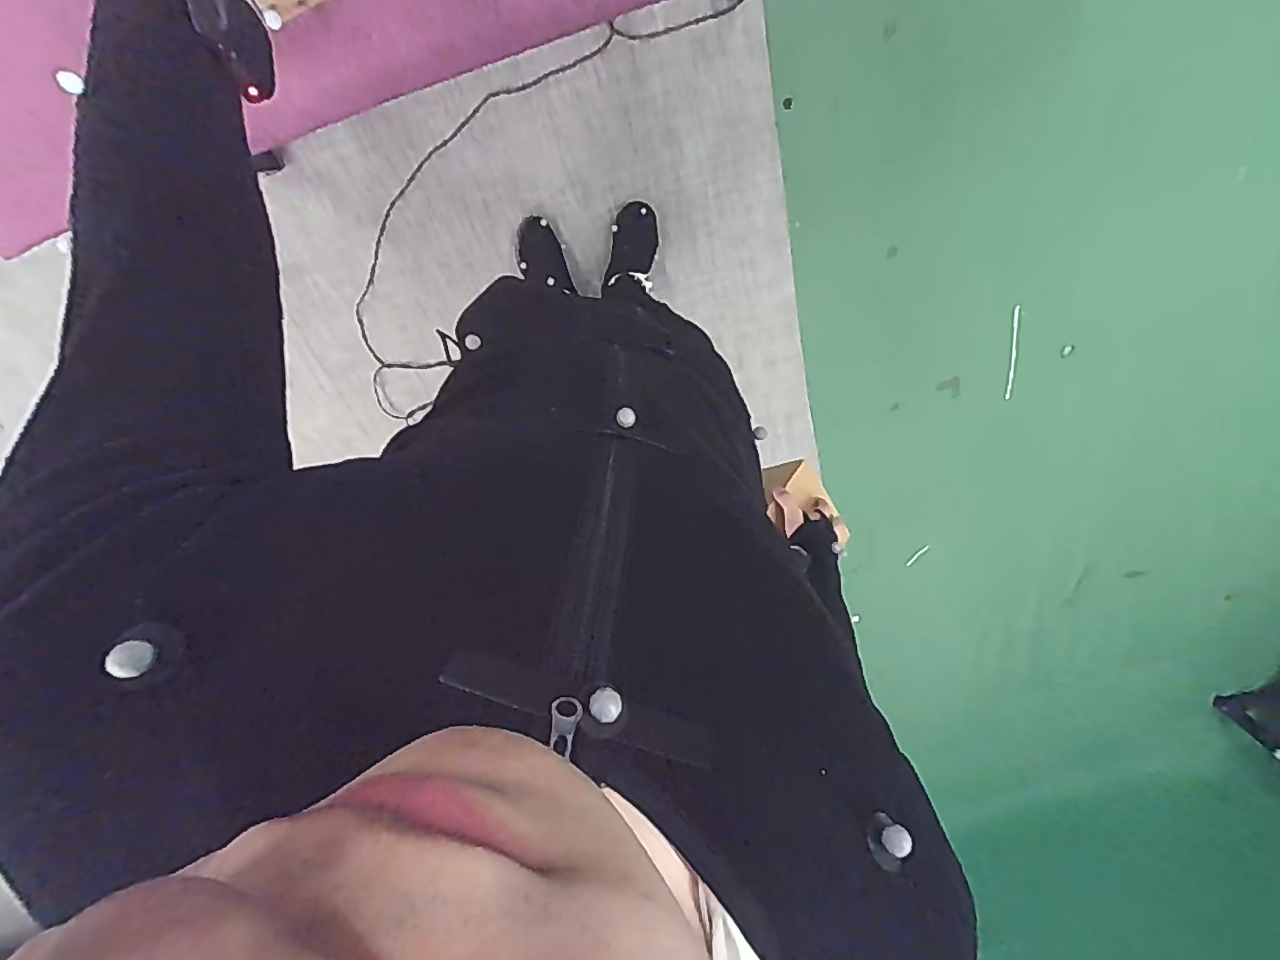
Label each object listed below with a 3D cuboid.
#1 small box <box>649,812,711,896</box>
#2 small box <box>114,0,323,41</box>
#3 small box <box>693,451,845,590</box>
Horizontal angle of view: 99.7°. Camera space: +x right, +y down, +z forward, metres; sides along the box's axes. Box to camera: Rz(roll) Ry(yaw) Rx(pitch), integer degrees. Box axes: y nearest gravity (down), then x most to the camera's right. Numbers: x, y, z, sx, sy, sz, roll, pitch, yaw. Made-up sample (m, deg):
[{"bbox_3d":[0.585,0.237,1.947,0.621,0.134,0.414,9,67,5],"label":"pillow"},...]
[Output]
[{"bbox_3d":[0.135,1.270,1.841,0.168,0.176,0.179,-15,120,2],"label":"small box"},{"bbox_3d":[-0.402,-0.533,0.475,0.168,0.176,0.179,-21,122,6],"label":"small box"},{"bbox_3d":[0.216,0.078,0.941,0.176,0.179,0.168,-17,111,51],"label":"small box"}]
